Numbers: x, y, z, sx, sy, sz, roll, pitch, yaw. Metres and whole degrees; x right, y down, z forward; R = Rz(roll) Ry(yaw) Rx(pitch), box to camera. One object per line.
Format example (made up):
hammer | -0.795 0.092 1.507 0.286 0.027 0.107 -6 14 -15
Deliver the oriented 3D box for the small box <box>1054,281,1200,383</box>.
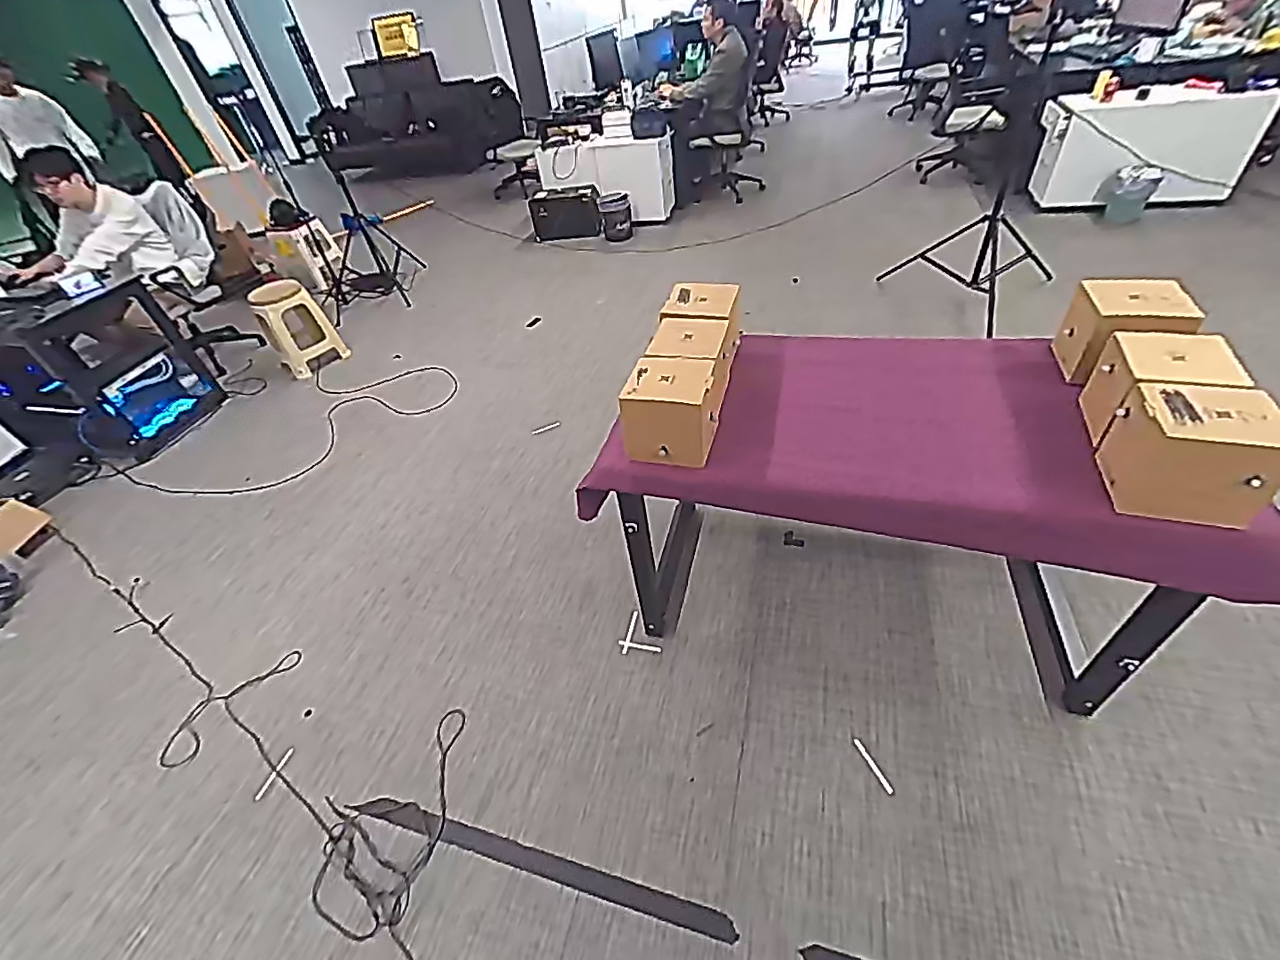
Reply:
small box | 1.047 -0.321 1.188 0.179 0.176 0.168 7 46 16

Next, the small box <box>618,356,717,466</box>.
small box | 0.068 -0.149 1.182 0.179 0.176 0.168 8 44 16

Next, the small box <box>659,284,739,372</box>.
small box | 0.161 -0.402 1.432 0.179 0.176 0.168 9 48 17

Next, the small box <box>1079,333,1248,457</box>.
small box | 0.987 -0.164 1.041 0.168 0.176 0.179 9 45 20
